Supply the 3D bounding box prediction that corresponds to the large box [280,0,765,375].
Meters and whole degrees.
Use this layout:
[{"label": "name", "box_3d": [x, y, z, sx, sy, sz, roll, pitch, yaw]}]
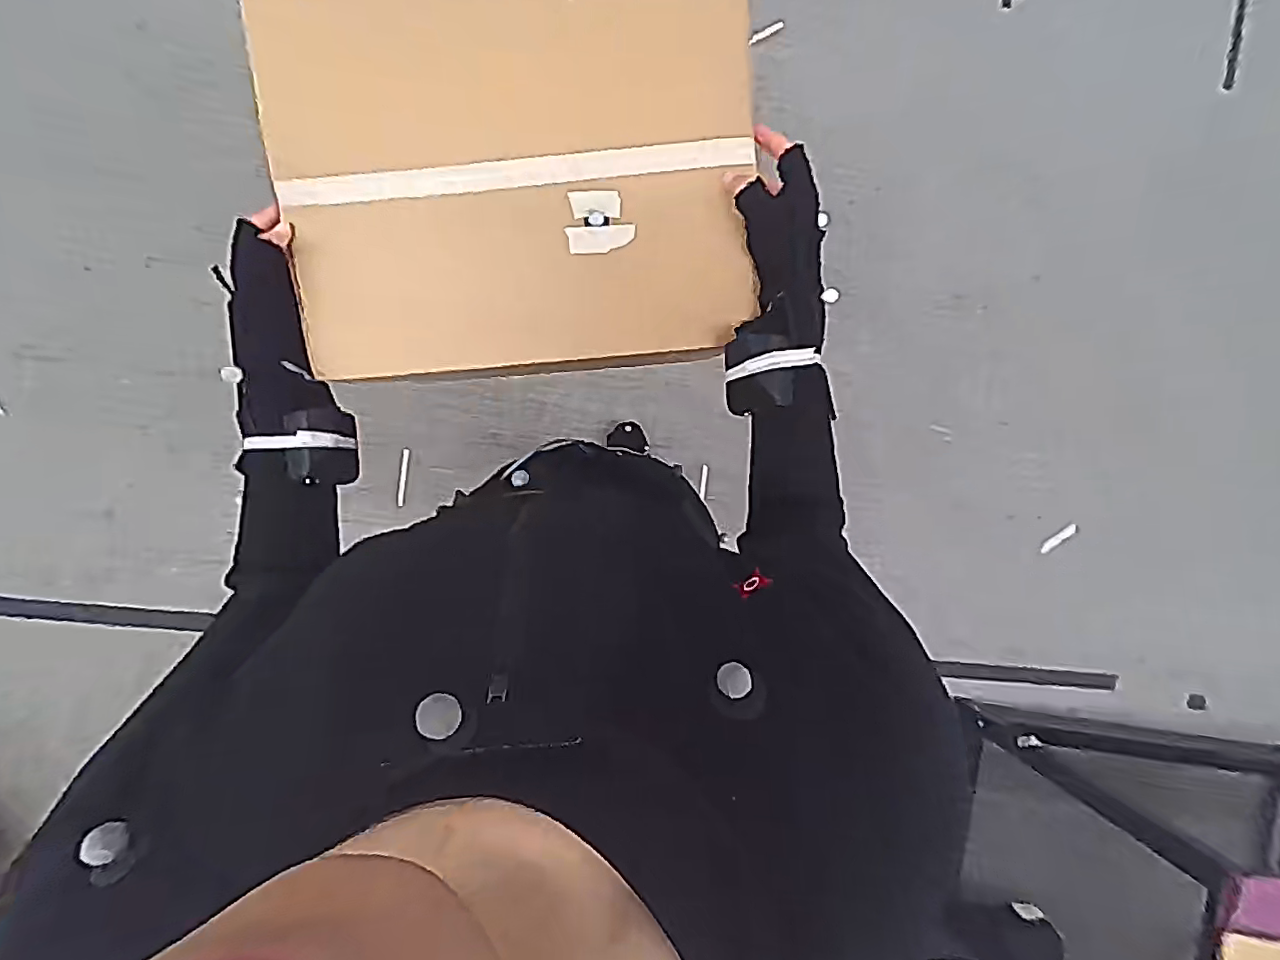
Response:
[{"label": "large box", "box_3d": [-0.096, -0.295, 0.622, 0.408, 0.320, 0.320, -4, 101, 0]}]
